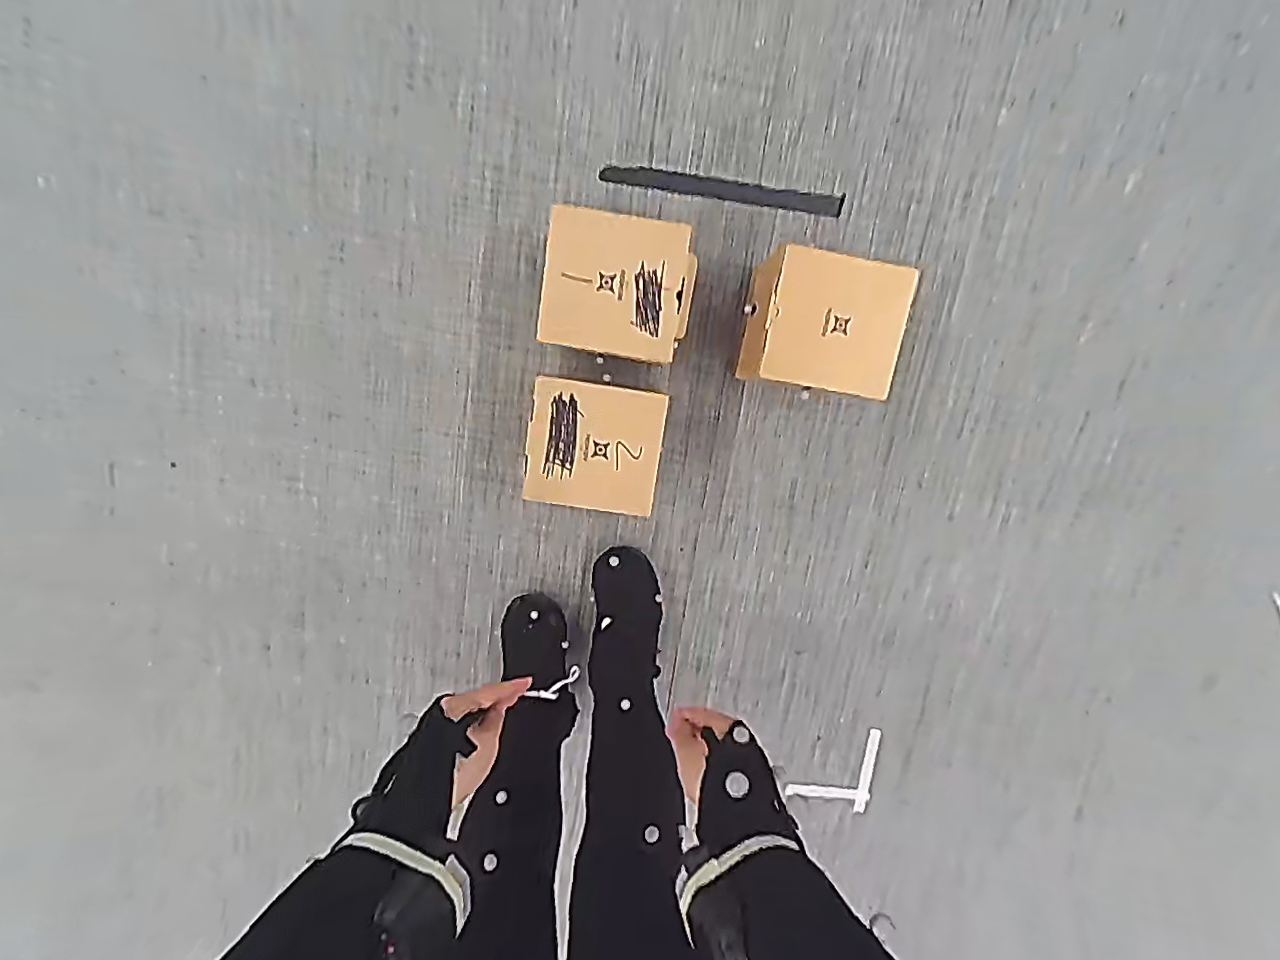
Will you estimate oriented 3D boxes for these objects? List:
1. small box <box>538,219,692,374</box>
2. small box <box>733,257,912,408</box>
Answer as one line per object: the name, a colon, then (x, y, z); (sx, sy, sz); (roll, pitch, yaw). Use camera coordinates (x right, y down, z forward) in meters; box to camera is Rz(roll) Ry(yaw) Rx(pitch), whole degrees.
small box: (-0.034, -0.246, 0.761); (0.179, 0.176, 0.168); (9, 101, -2)
small box: (0.247, -0.204, 0.775); (0.179, 0.176, 0.168); (10, 101, -2)
